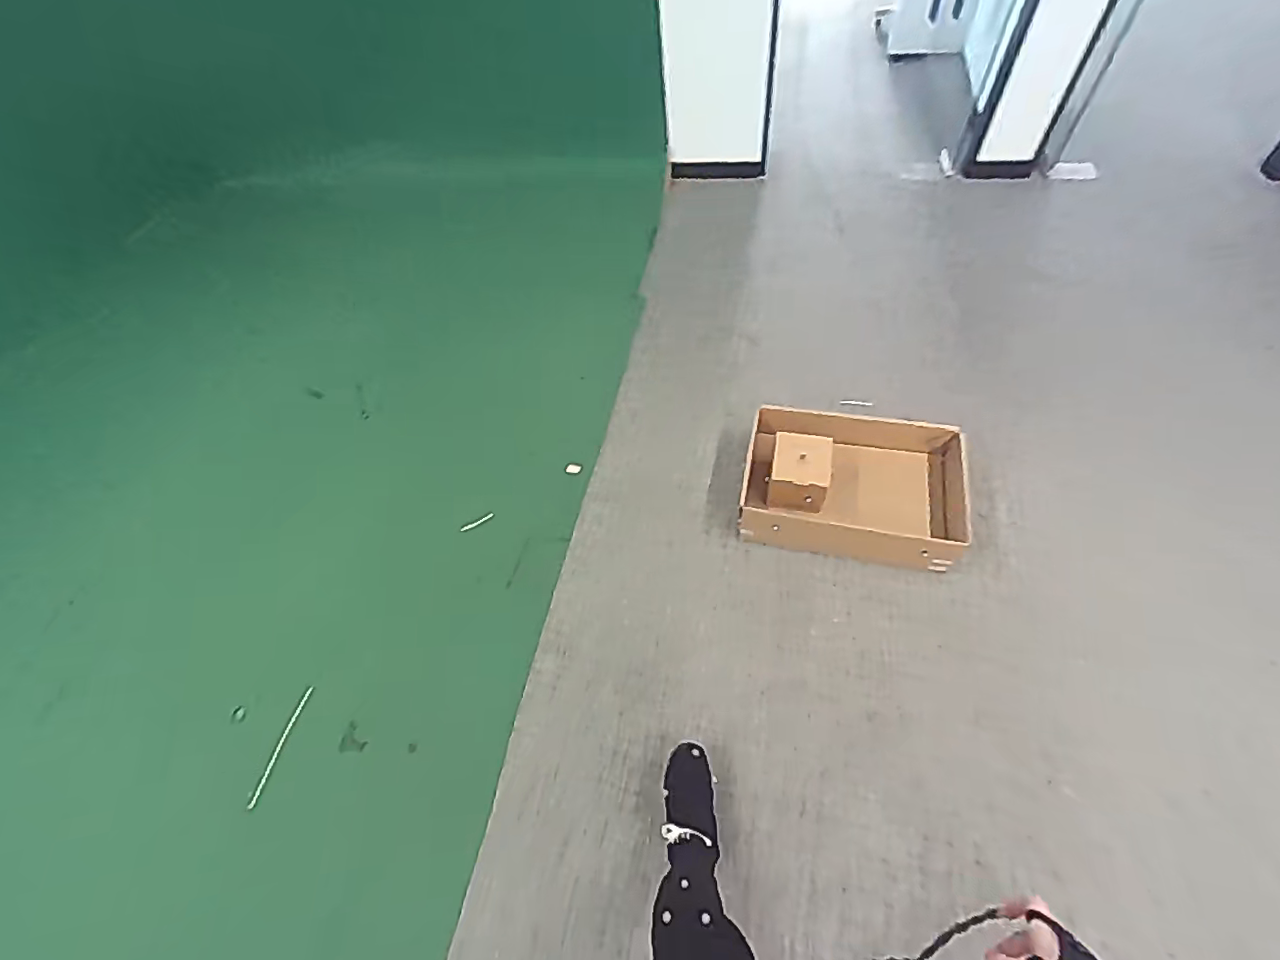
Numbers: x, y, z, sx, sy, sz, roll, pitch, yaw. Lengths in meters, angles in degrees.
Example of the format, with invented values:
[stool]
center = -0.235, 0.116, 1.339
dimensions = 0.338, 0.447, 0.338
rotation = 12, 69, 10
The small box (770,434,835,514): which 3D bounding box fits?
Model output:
[small box]
center = 0.495, -0.014, 1.656
dimensions = 0.168, 0.176, 0.179
rotation = 8, 59, 11
